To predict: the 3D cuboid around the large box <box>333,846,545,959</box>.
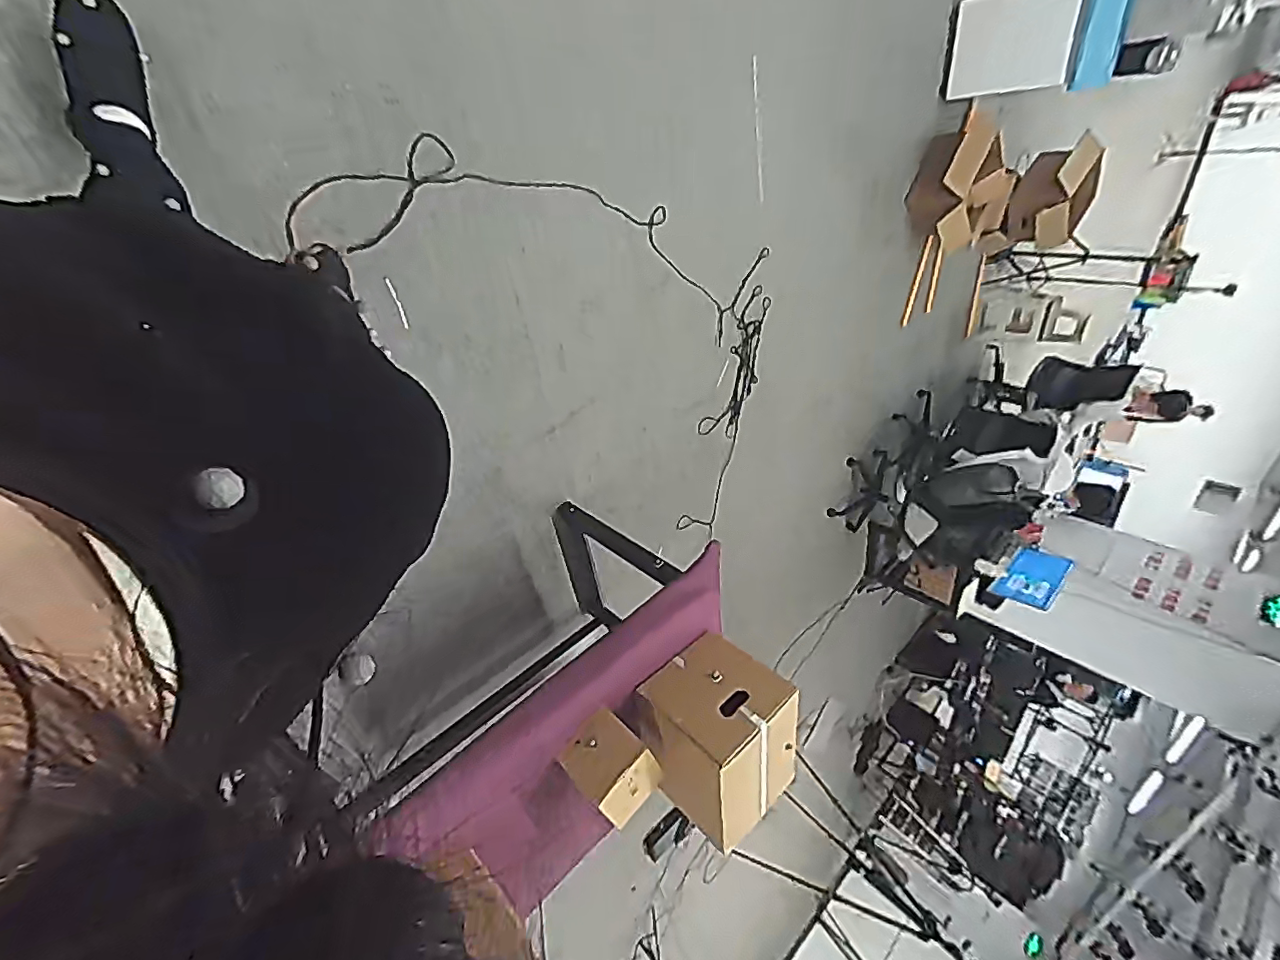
[{"bbox_3d":[-0.366,1.061,1.097,0.320,0.320,0.408,-35,129,-32],"label":"large box"}]
